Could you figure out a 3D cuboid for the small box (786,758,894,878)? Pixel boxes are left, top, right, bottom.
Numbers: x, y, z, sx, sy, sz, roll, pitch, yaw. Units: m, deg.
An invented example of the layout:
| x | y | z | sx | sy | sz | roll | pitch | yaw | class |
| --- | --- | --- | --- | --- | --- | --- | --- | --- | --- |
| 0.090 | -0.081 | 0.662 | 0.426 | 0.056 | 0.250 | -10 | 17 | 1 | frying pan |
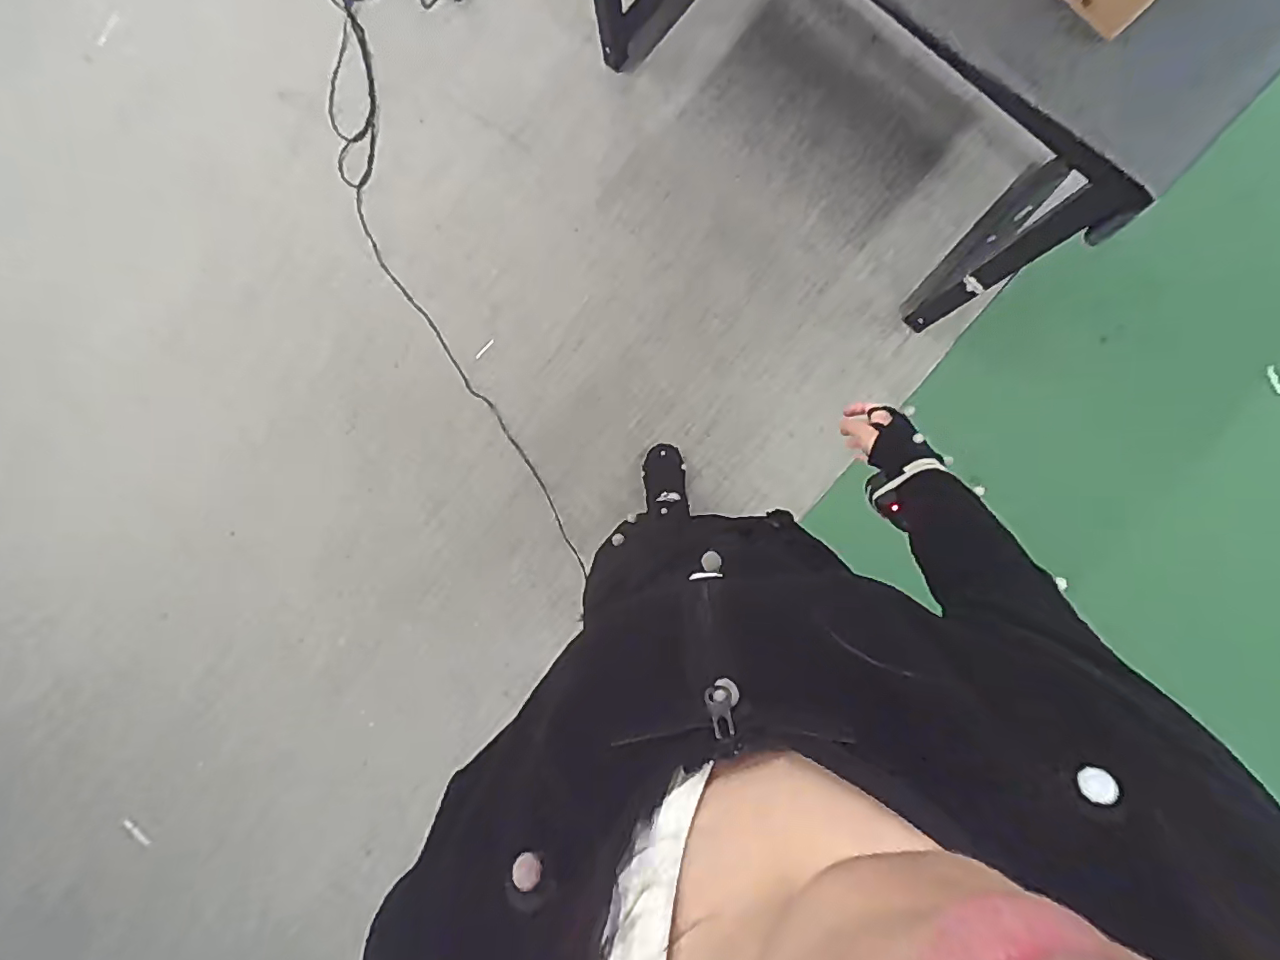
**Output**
| x | y | z | sx | sy | sz | roll | pitch | yaw | class |
| --- | --- | --- | --- | --- | --- | --- | --- | --- | --- |
| 0.504 | 0.854 | 1.394 | 0.179 | 0.176 | 0.168 | 41 | 91 | 2 | small box |
